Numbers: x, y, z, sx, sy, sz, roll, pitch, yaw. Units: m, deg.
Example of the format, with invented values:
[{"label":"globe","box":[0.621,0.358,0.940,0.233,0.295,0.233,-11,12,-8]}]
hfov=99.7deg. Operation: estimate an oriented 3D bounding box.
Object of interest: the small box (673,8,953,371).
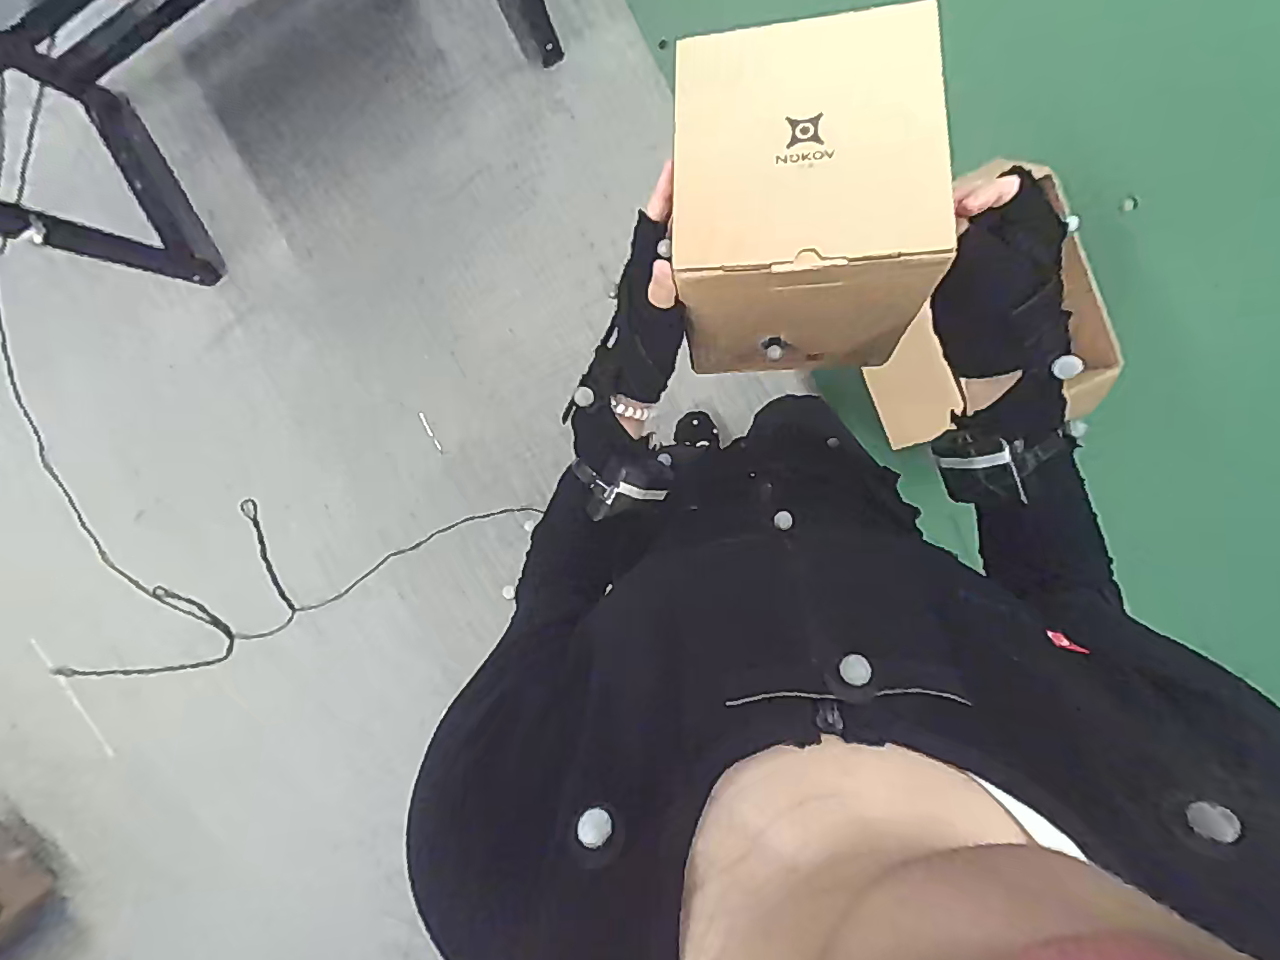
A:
[{"label":"small box","box":[0.115,-0.199,0.417,0.168,0.176,0.179,-1,81,10]}]
